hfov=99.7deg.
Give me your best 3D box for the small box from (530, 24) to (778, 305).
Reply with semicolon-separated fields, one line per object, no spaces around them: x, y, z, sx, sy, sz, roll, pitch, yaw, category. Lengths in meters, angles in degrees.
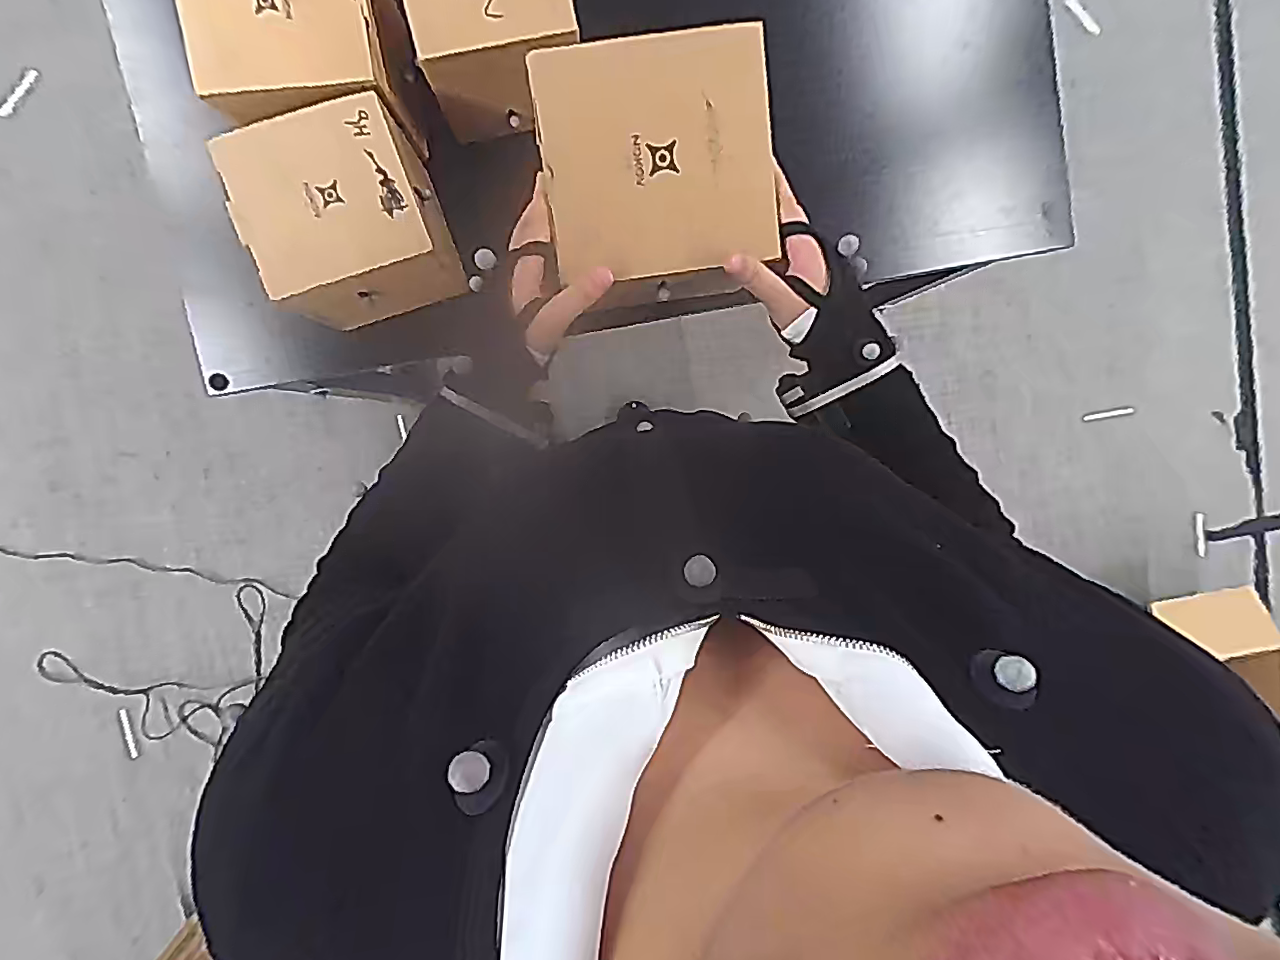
0.011;-0.263;0.493;0.179;0.176;0.168;-9;102;-2;small box
